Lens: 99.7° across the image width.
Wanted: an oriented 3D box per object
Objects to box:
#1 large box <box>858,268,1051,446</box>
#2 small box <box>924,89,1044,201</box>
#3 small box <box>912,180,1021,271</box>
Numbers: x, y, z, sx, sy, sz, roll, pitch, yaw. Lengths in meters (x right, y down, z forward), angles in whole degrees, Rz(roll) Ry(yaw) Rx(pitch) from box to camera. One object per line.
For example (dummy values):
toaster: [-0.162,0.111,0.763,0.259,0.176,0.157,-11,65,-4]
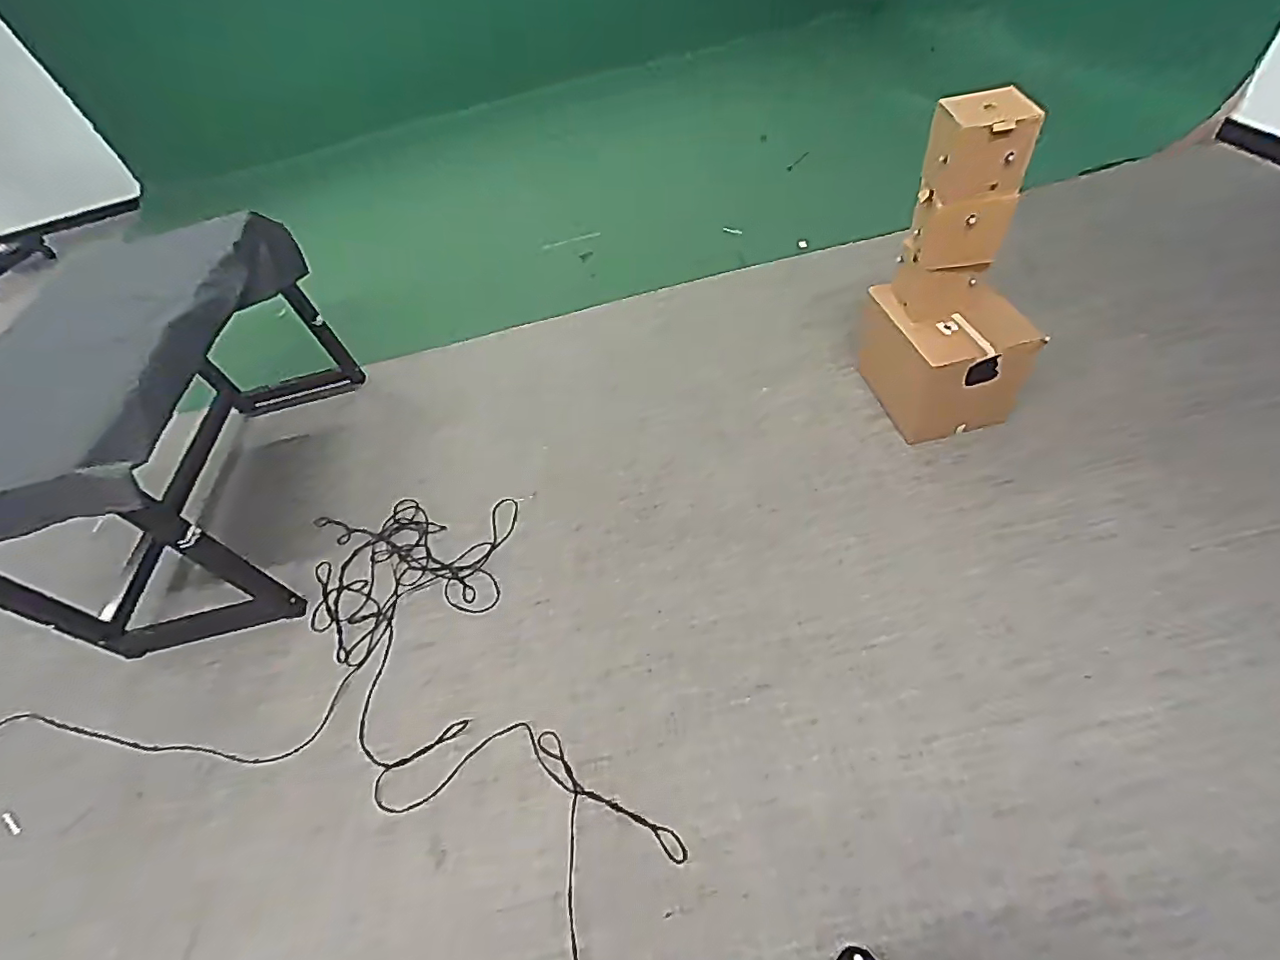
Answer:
large box: [0.916,-0.376,1.652,0.320,0.320,0.408,-15,51,2]
small box: [0.785,-0.768,1.255,0.168,0.176,0.179,-5,51,8]
small box: [0.816,-0.657,1.371,0.179,0.176,0.168,-4,52,11]
